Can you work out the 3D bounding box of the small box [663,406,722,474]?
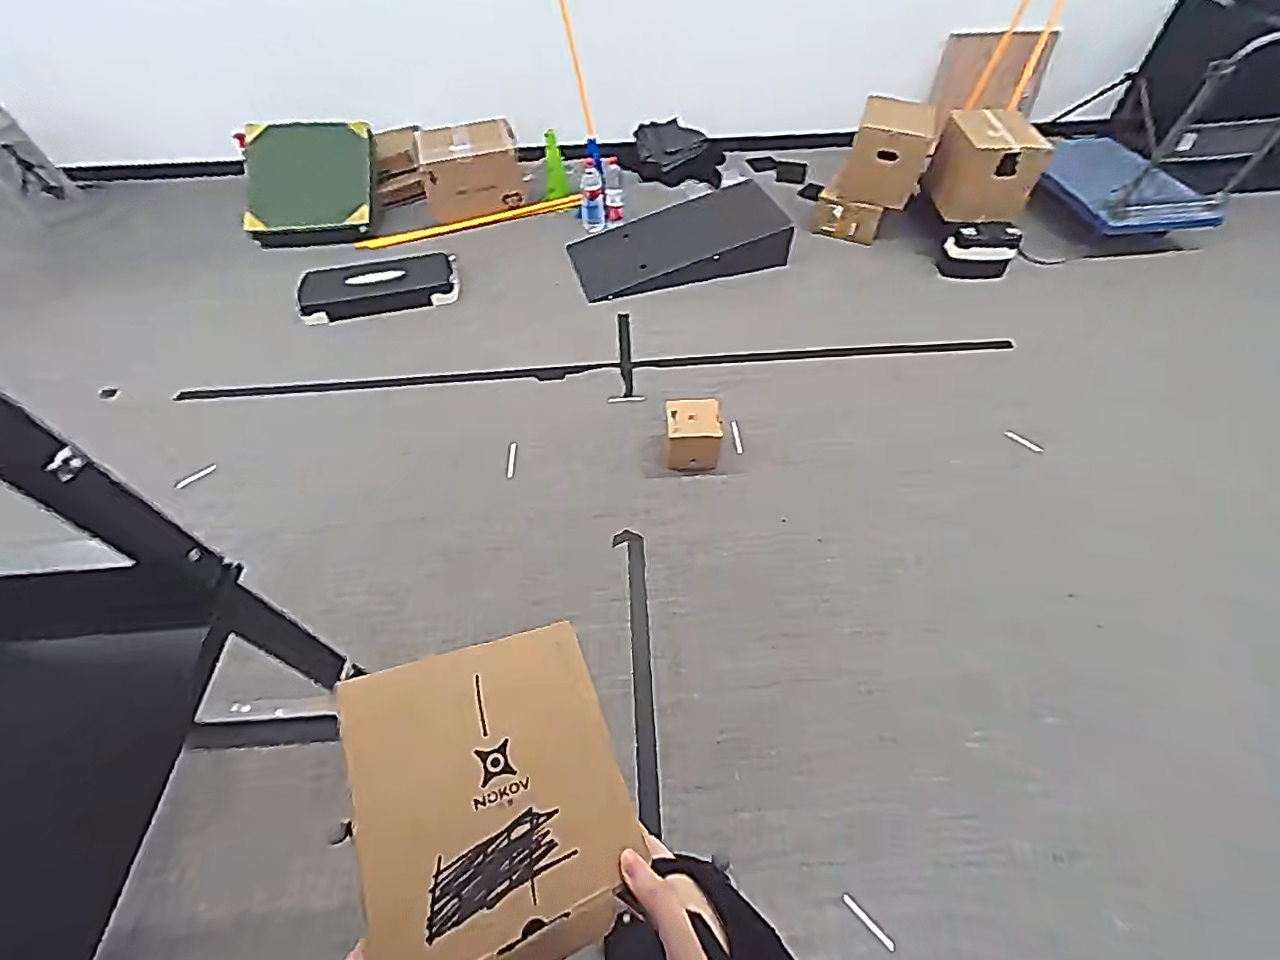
[{"bbox_3d":[0.173,-0.134,1.835,0.179,0.176,0.168,0,52,-1],"label":"small box"}]
